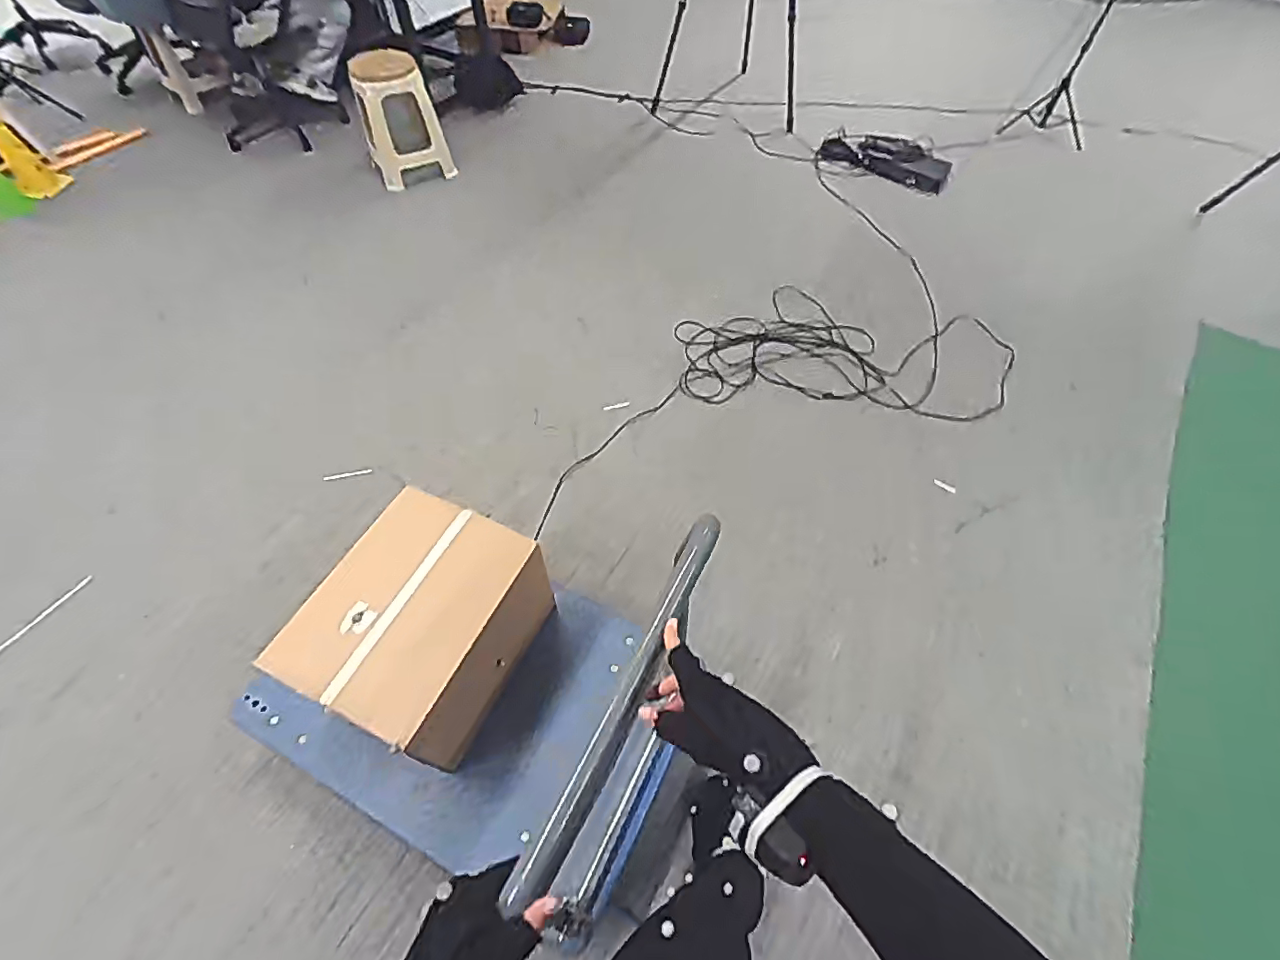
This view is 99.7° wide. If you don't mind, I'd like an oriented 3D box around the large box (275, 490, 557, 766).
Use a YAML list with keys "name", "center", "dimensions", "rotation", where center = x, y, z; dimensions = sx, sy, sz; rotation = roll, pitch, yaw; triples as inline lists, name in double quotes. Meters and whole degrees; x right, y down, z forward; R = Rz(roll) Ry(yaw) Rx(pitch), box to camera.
- name: "large box"
  center: [-0.404, 0.300, 1.103]
  dimensions: [0.320, 0.320, 0.408]
  rotation: [20, 59, 12]
